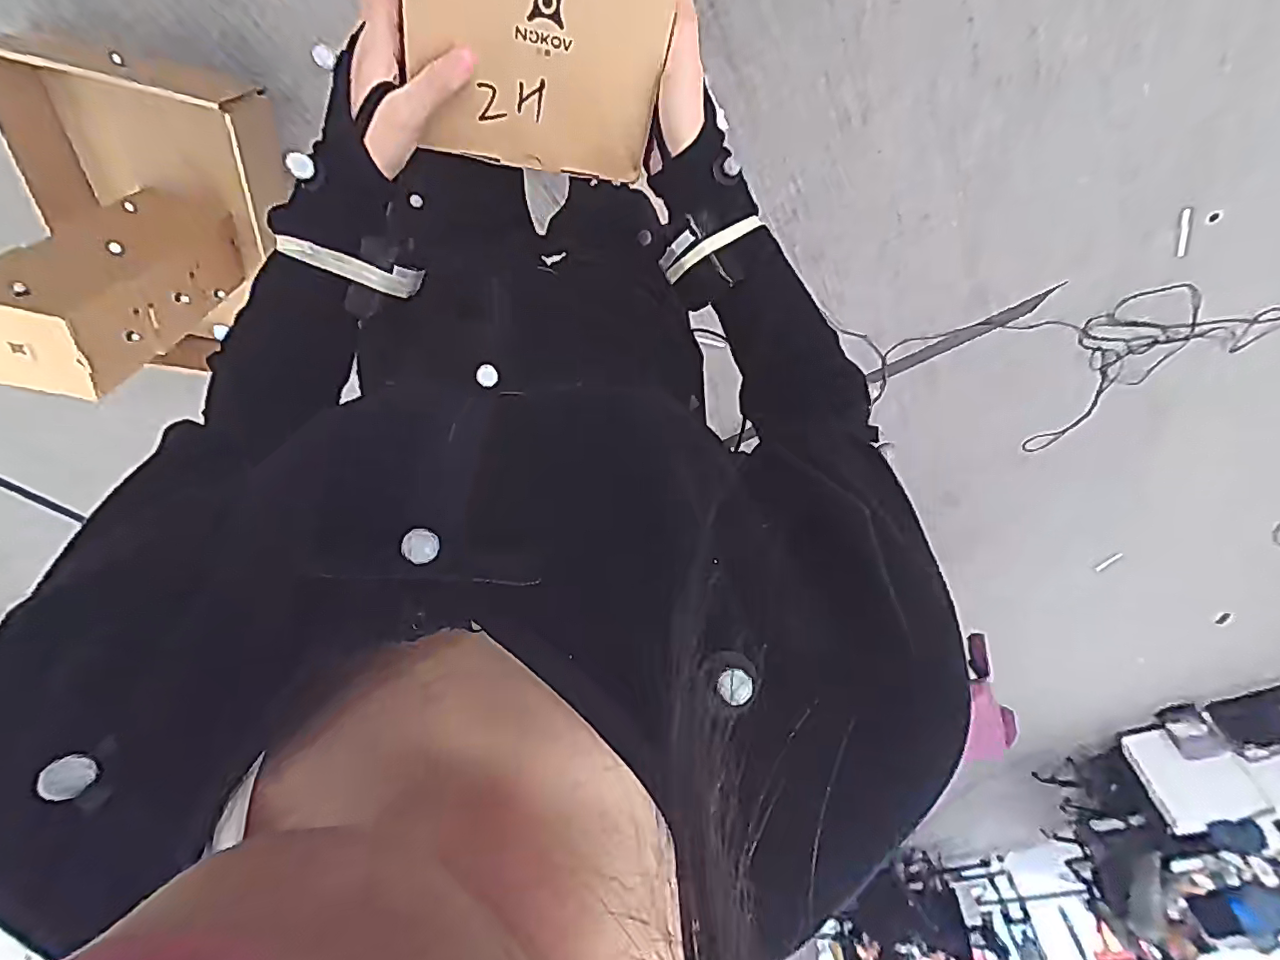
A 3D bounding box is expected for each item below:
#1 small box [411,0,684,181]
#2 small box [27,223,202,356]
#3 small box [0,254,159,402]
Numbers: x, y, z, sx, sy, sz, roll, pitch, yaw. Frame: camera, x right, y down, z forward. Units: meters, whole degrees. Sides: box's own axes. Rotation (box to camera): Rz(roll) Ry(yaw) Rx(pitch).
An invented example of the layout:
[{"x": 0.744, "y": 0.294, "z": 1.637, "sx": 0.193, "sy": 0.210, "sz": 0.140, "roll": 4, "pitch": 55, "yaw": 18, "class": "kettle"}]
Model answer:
[{"x": -0.074, "y": -0.350, "z": 0.385, "sx": 0.168, "sy": 0.176, "sz": 0.179, "roll": 0, "pitch": 139, "yaw": -20, "class": "small box"}, {"x": -0.992, "y": -0.371, "z": 1.048, "sx": 0.179, "sy": 0.176, "sz": 0.168, "roll": 11, "pitch": 132, "yaw": -15, "class": "small box"}, {"x": -0.991, "y": -0.263, "z": 0.925, "sx": 0.179, "sy": 0.176, "sz": 0.168, "roll": 11, "pitch": 132, "yaw": -14, "class": "small box"}]
